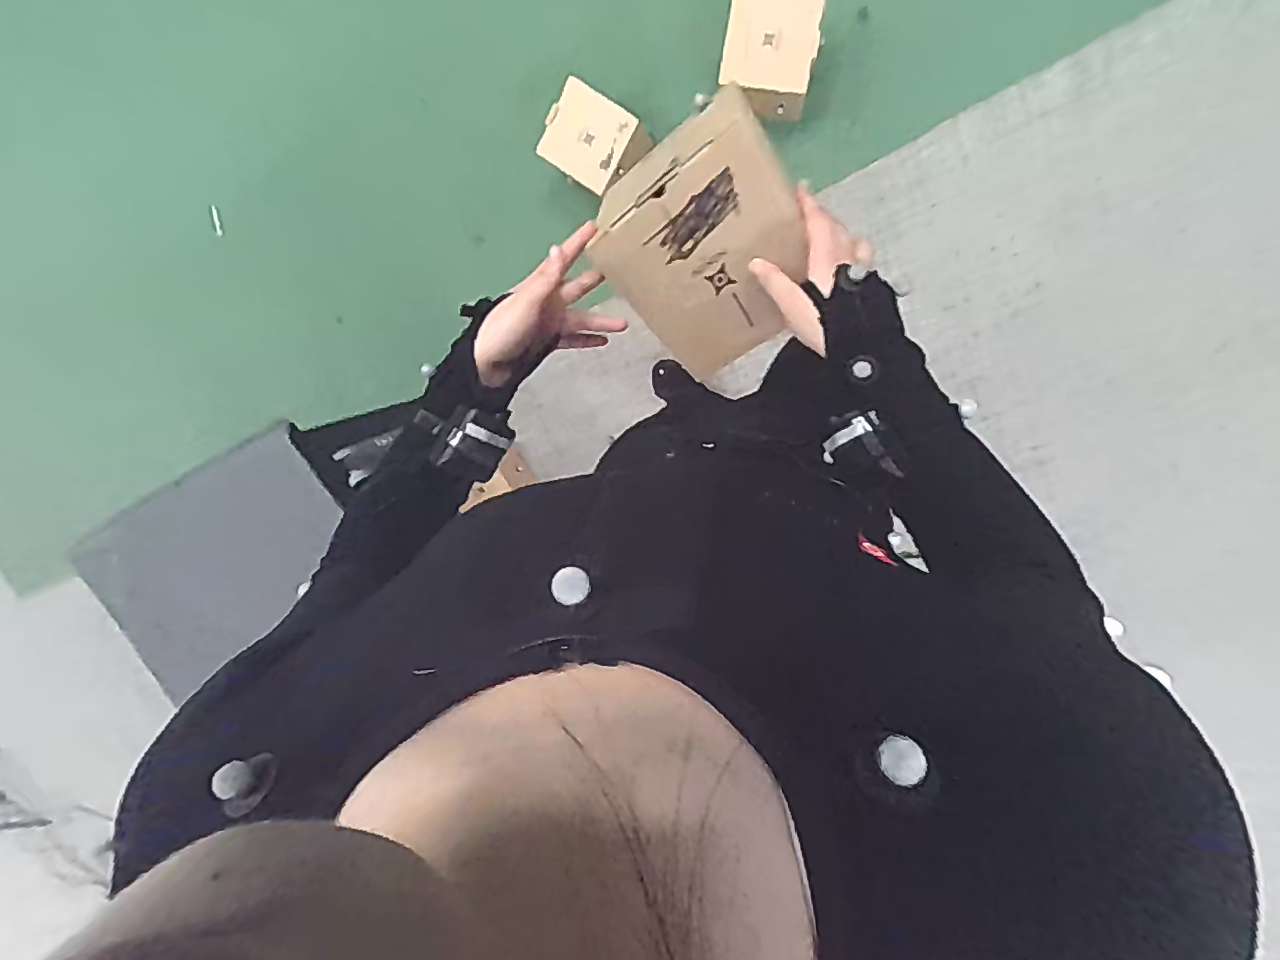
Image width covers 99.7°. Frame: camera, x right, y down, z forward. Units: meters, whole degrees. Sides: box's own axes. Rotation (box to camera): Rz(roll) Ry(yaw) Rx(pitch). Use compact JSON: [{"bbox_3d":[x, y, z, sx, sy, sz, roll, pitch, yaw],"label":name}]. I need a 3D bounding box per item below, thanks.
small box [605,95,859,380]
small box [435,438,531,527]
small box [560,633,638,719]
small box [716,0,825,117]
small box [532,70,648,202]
[{"bbox_3d":[0.087,-0.239,0.532,0.168,0.176,0.179,-26,127,27],"label":"small box"},{"bbox_3d":[-0.425,0.001,1.510,0.179,0.176,0.168,-27,100,17],"label":"small box"},{"bbox_3d":[-0.116,0.591,1.647,0.179,0.176,0.168,-18,104,16],"label":"small box"},{"bbox_3d":[0.260,-0.865,1.102,0.179,0.176,0.168,12,108,8],"label":"small box"},{"bbox_3d":[-0.105,-0.753,1.208,0.179,0.176,0.168,34,111,0],"label":"small box"}]
